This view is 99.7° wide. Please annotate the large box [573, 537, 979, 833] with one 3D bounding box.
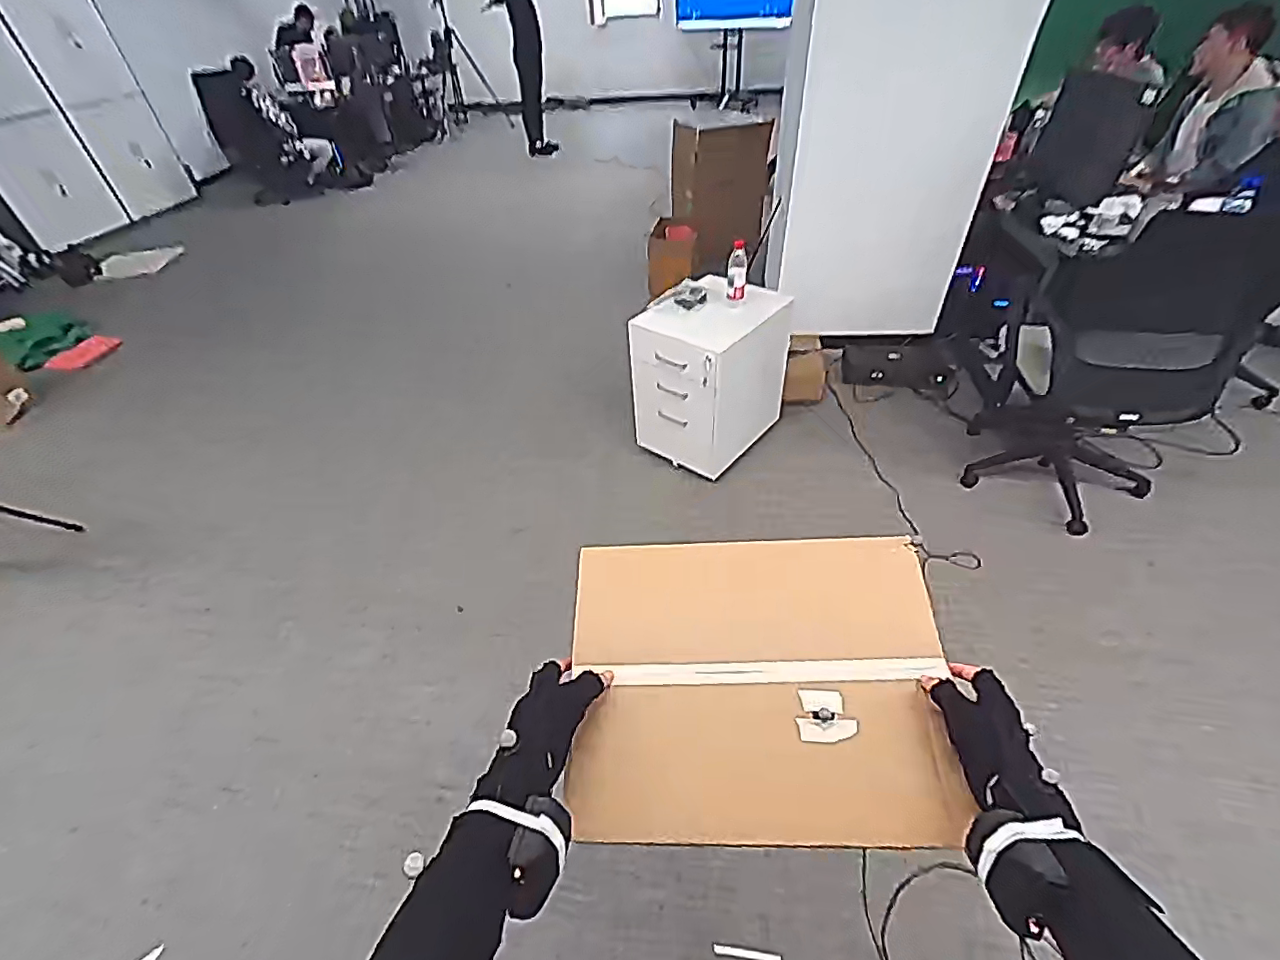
[{"bbox_3d":[0.141,0.290,0.733,0.408,0.320,0.320,-2,58,5],"label":"large box"}]
